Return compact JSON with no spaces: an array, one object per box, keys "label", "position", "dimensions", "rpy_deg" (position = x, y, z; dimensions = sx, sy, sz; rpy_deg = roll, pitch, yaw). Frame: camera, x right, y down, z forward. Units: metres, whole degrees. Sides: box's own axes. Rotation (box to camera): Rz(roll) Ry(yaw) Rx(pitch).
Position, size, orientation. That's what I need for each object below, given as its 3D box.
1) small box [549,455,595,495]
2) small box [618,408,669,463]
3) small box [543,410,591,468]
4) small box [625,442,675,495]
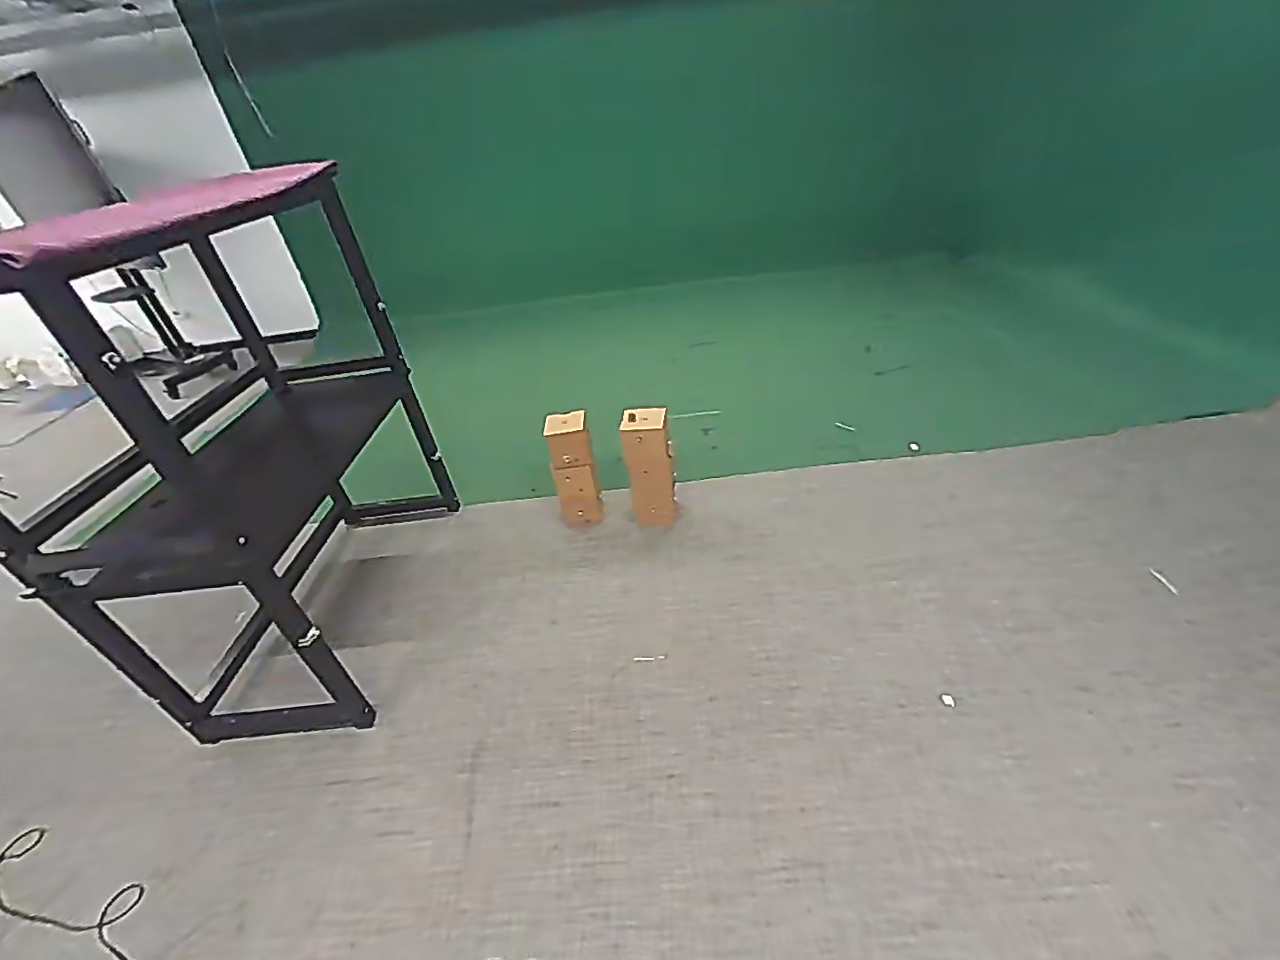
[{"label":"small box","position":[-0.295,-0.046,2.379],"dimensions":[0.168,0.176,0.179],"rpy_deg":[-7,34,3]},{"label":"small box","position":[0.018,-0.180,2.209],"dimensions":[0.179,0.176,0.168],"rpy_deg":[-1,36,10]},{"label":"small box","position":[-0.303,-0.172,2.274],"dimensions":[0.168,0.176,0.179],"rpy_deg":[-9,35,2]},{"label":"small box","position":[0.045,-0.049,2.304],"dimensions":[0.179,0.176,0.168],"rpy_deg":[0,37,12]}]
